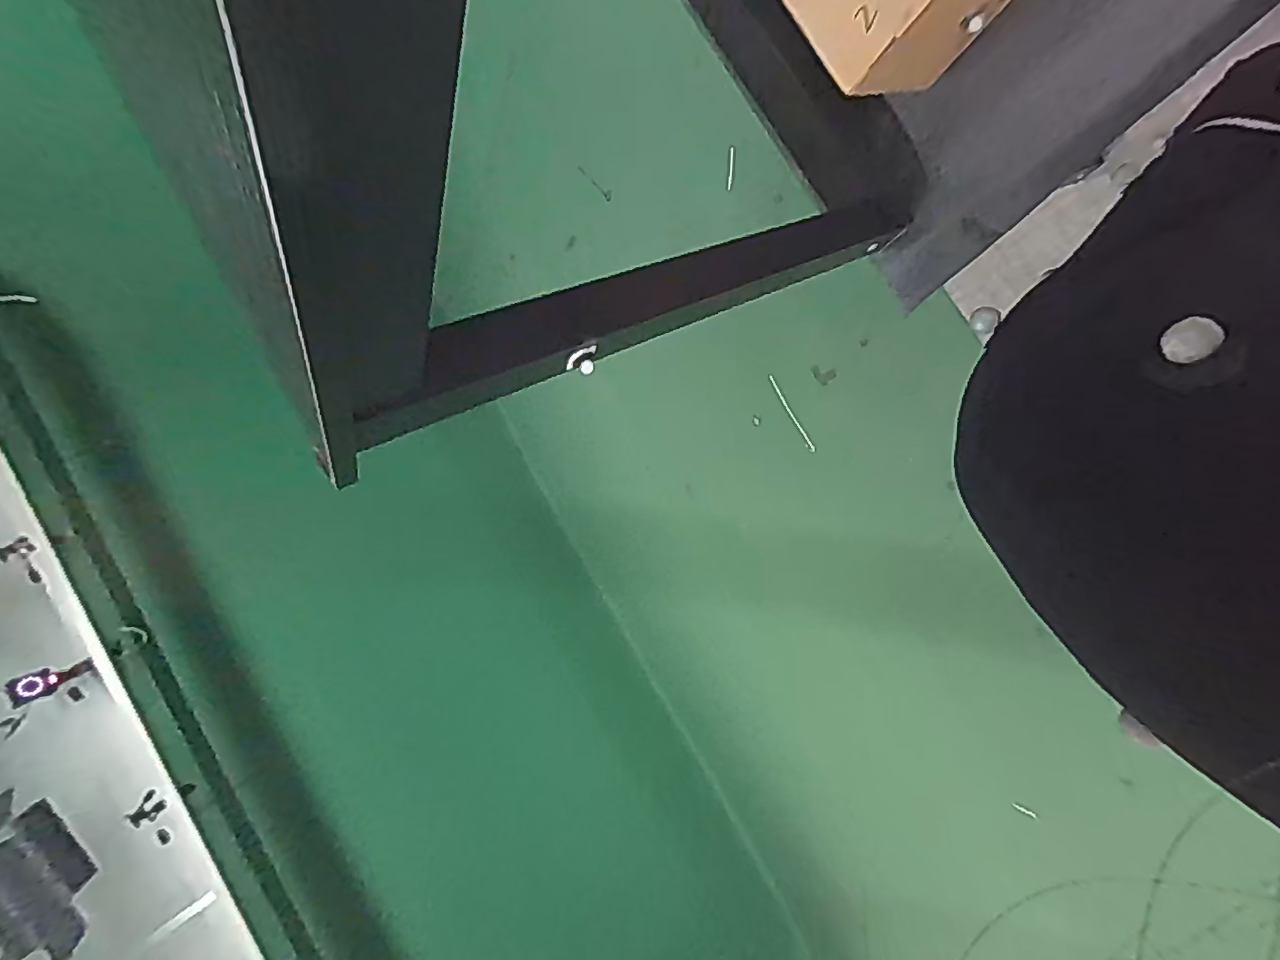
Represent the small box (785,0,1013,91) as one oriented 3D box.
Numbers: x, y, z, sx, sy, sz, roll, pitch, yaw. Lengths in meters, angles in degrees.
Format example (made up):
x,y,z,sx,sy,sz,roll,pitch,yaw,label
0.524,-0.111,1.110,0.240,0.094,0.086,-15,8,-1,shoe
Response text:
x,y,z,sx,sy,sz,roll,pitch,yaw,label
0.265,-0.524,0.532,0.179,0.176,0.168,60,150,4,small box
